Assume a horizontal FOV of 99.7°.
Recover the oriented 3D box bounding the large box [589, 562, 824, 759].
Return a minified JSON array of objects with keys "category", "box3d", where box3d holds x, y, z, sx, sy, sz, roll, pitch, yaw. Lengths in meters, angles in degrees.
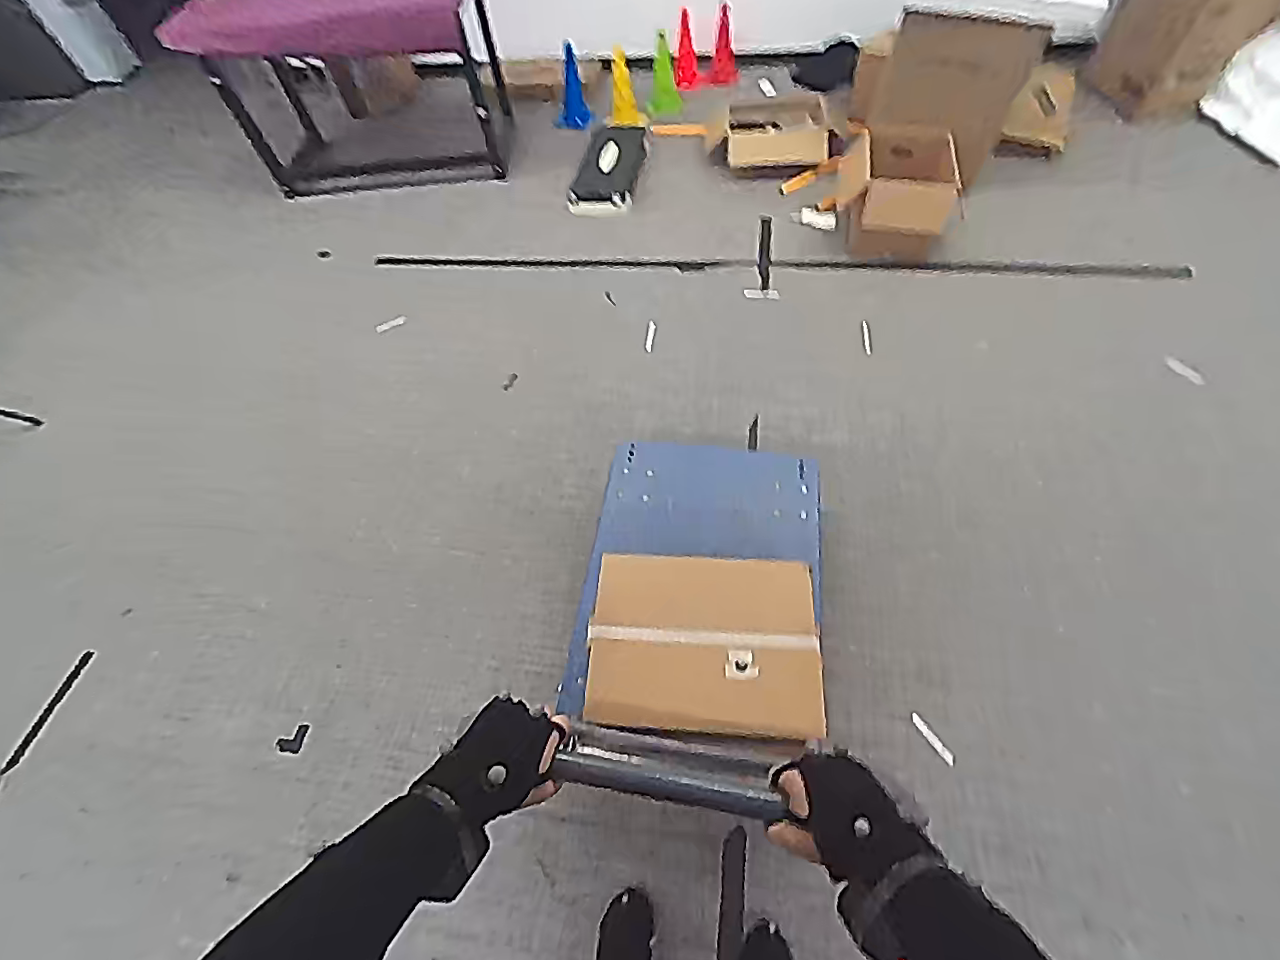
[{"category":"large box","box3d":[0.124,0.379,1.112,0.408,0.320,0.320,2,58,5]}]
